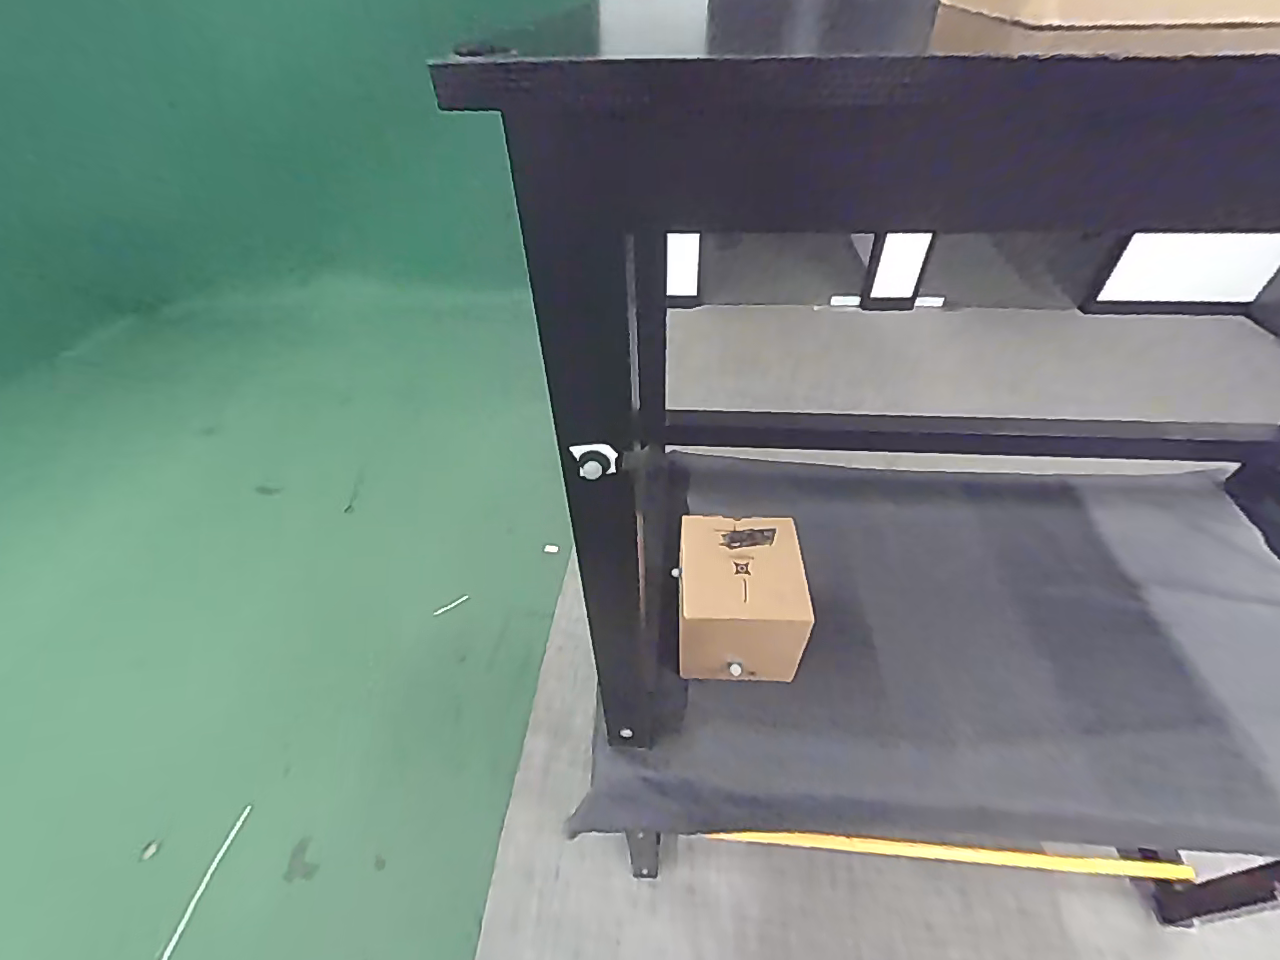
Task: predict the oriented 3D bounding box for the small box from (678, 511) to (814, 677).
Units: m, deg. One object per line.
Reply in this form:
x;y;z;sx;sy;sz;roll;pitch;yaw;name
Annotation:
0.141;0.166;0.792;0.168;0.176;0.179;0;44;3;small box

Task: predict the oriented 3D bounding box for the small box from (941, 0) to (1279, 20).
0.262;-0.318;0.239;0.168;0.176;0.179;5;44;7;small box
